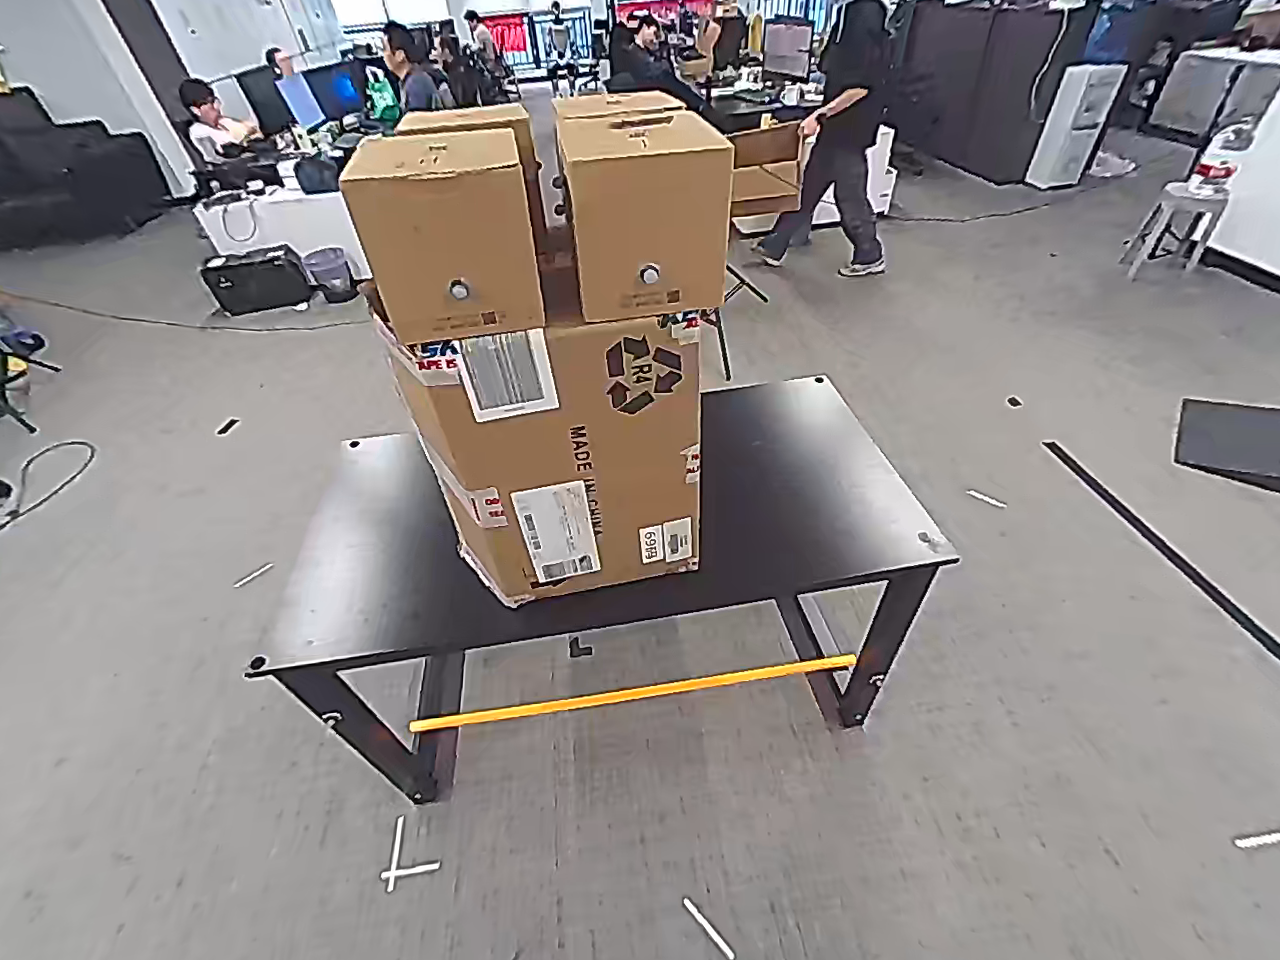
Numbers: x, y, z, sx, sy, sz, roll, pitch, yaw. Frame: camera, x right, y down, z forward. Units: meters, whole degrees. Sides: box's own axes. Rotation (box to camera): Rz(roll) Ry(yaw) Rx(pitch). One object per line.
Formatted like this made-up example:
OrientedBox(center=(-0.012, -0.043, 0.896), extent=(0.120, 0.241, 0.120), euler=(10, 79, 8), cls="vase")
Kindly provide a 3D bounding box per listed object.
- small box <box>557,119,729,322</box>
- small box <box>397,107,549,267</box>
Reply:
OrientedBox(center=(-0.003, -0.306, 0.637), extent=(0.168, 0.176, 0.179), euler=(-9, 44, -5), cls="small box")
OrientedBox(center=(-0.234, -0.426, 0.786), extent=(0.168, 0.176, 0.179), euler=(-12, 41, -8), cls="small box")
